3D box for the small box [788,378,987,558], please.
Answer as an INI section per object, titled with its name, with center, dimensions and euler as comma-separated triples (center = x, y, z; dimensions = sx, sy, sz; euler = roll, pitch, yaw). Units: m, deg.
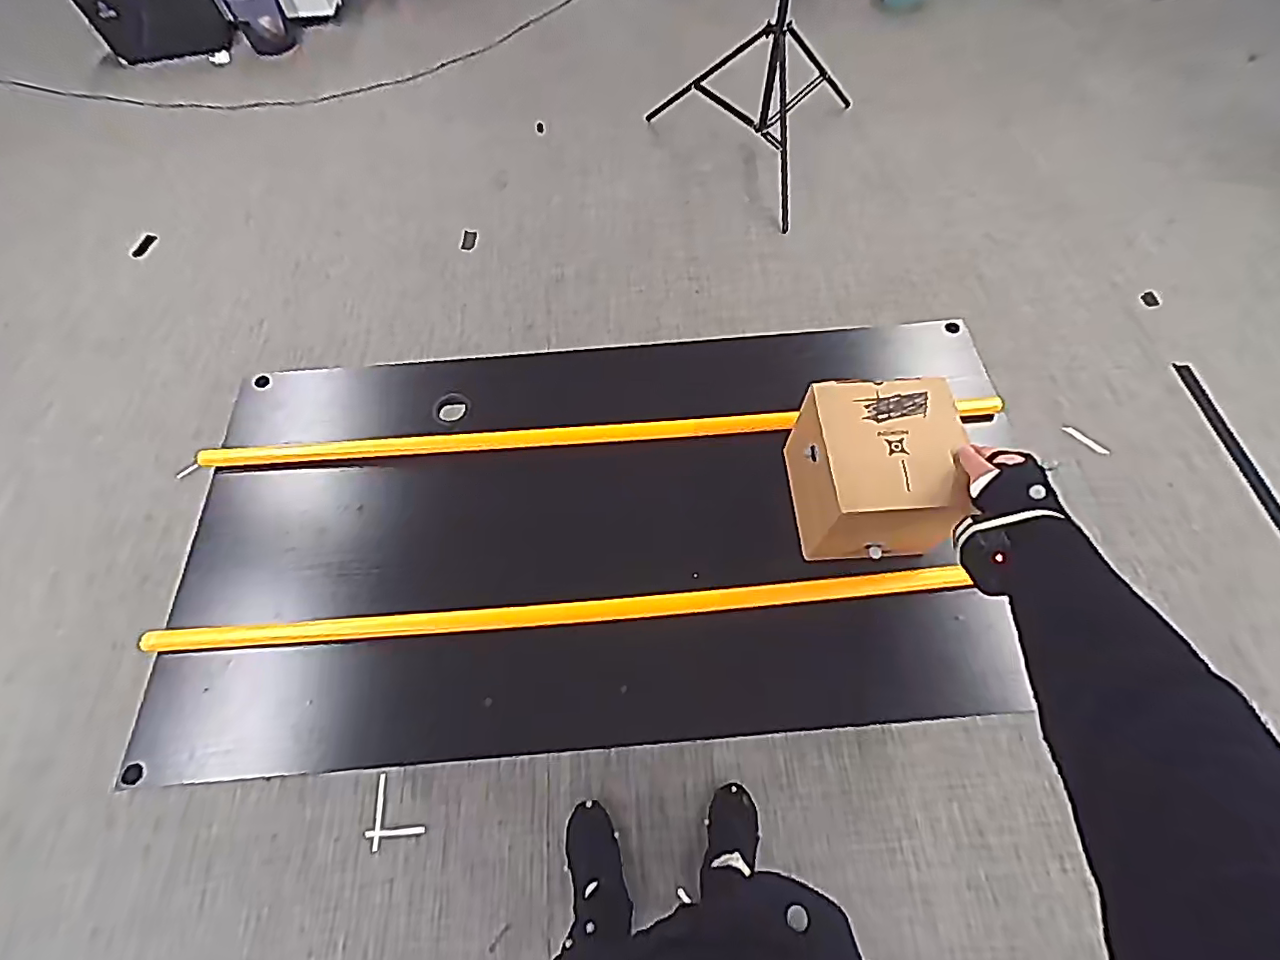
[small box]
center = 0.299, -0.010, 0.700
dimensions = 0.168, 0.176, 0.179
euler = -3, 64, 1
